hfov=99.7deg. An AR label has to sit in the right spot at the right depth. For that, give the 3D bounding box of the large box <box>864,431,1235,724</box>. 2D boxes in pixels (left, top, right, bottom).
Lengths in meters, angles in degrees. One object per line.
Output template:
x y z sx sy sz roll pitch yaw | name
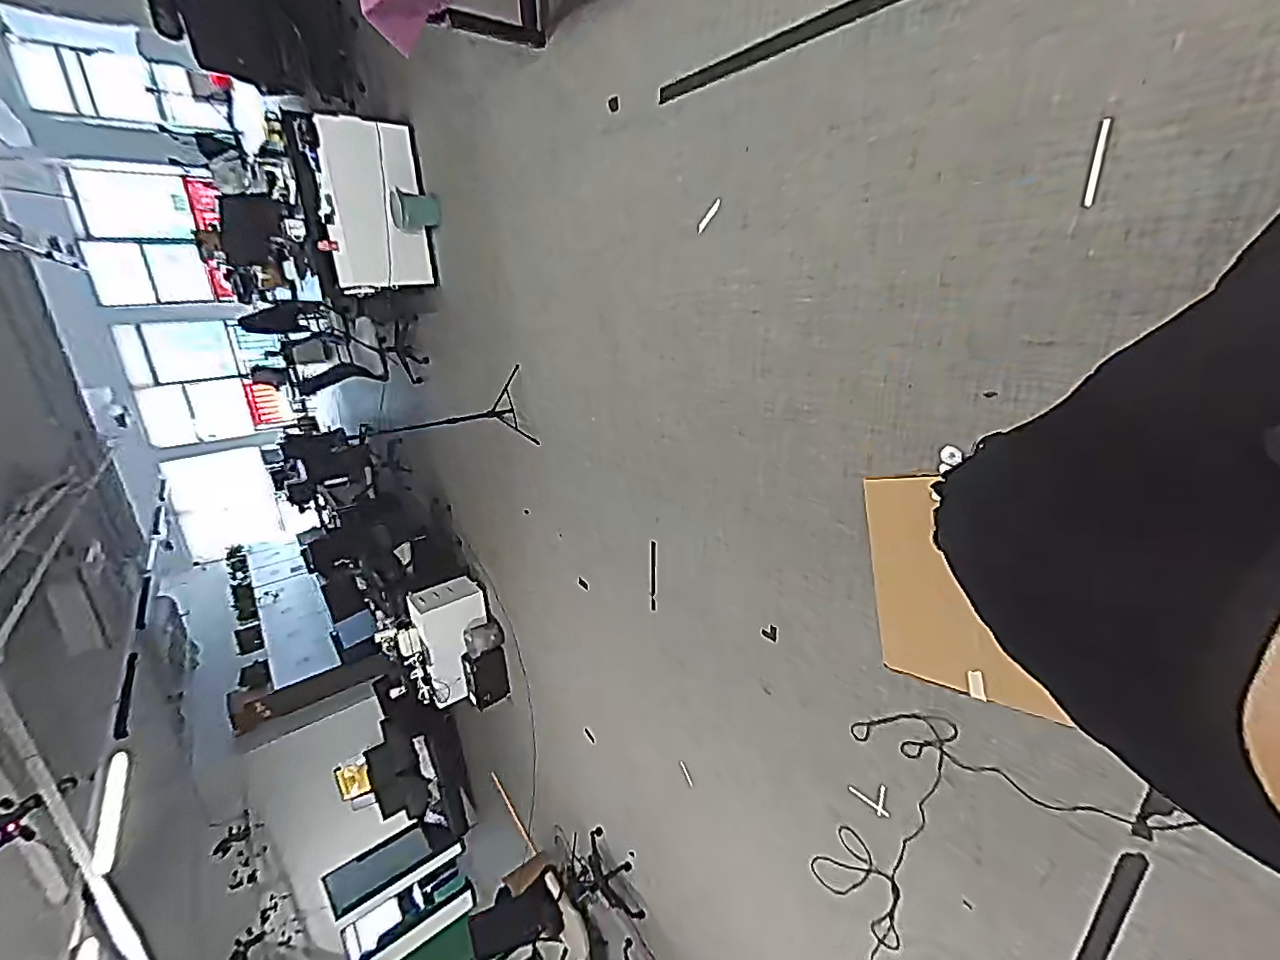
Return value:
0.618 0.110 0.827 0.320 0.408 0.320 -7 91 63 | large box
